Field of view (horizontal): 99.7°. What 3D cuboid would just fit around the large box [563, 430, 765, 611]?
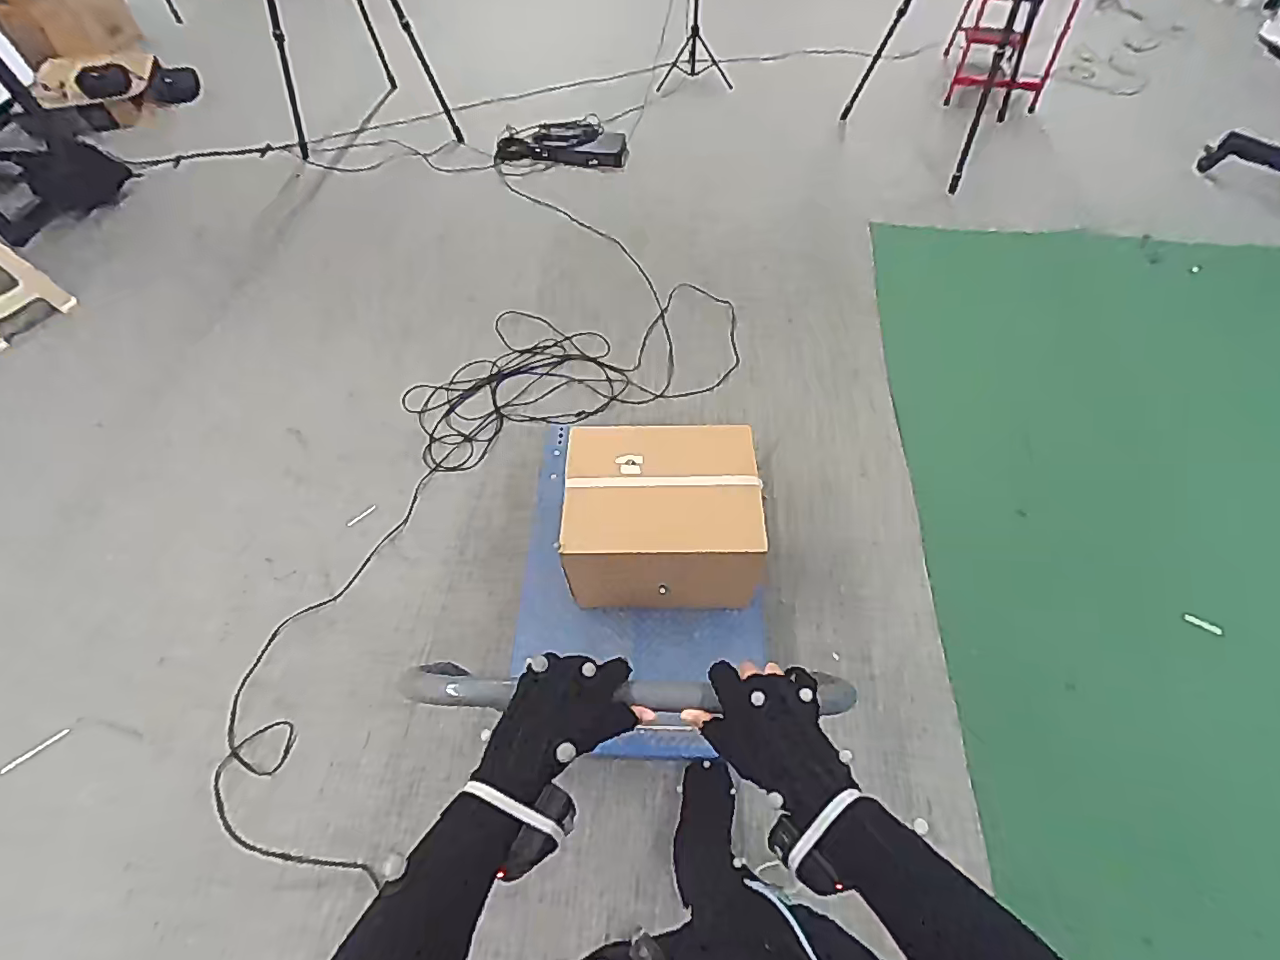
[{"bbox_3d":[0.053,0.104,1.259,0.408,0.320,0.320,-2,55,2],"label":"large box"}]
